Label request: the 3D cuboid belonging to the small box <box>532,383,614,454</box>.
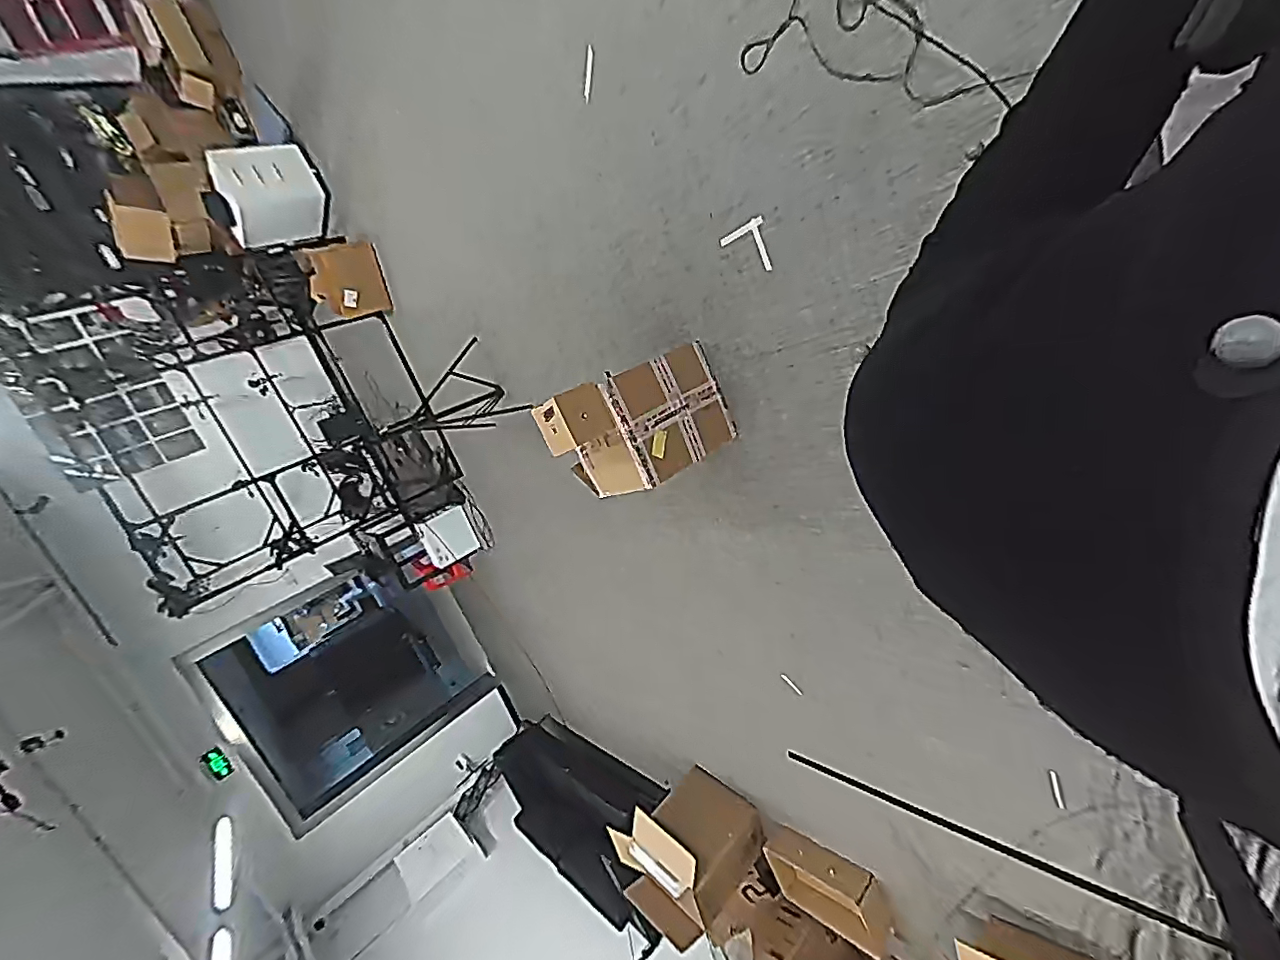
[{"bbox_3d":[-0.220,-0.207,1.786,0.168,0.176,0.179,-16,102,52],"label":"small box"}]
